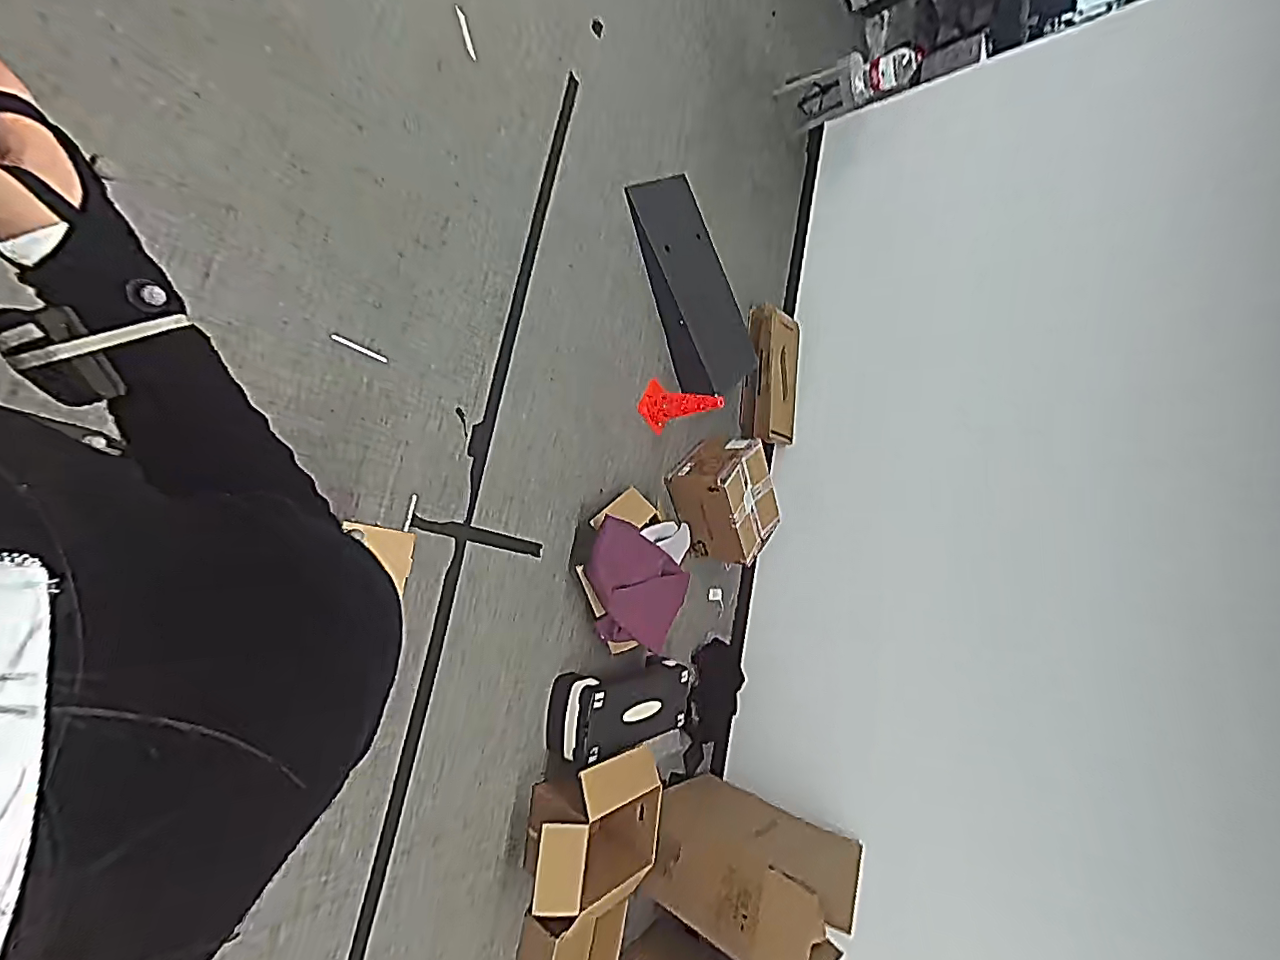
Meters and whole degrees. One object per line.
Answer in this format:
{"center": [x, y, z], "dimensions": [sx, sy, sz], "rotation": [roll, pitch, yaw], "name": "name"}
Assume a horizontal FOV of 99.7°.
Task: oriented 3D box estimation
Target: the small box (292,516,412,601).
{"center": [-0.670, 0.181, 1.261], "dimensions": [0.179, 0.176, 0.168], "rotation": [20, 75, -48], "name": "small box"}
